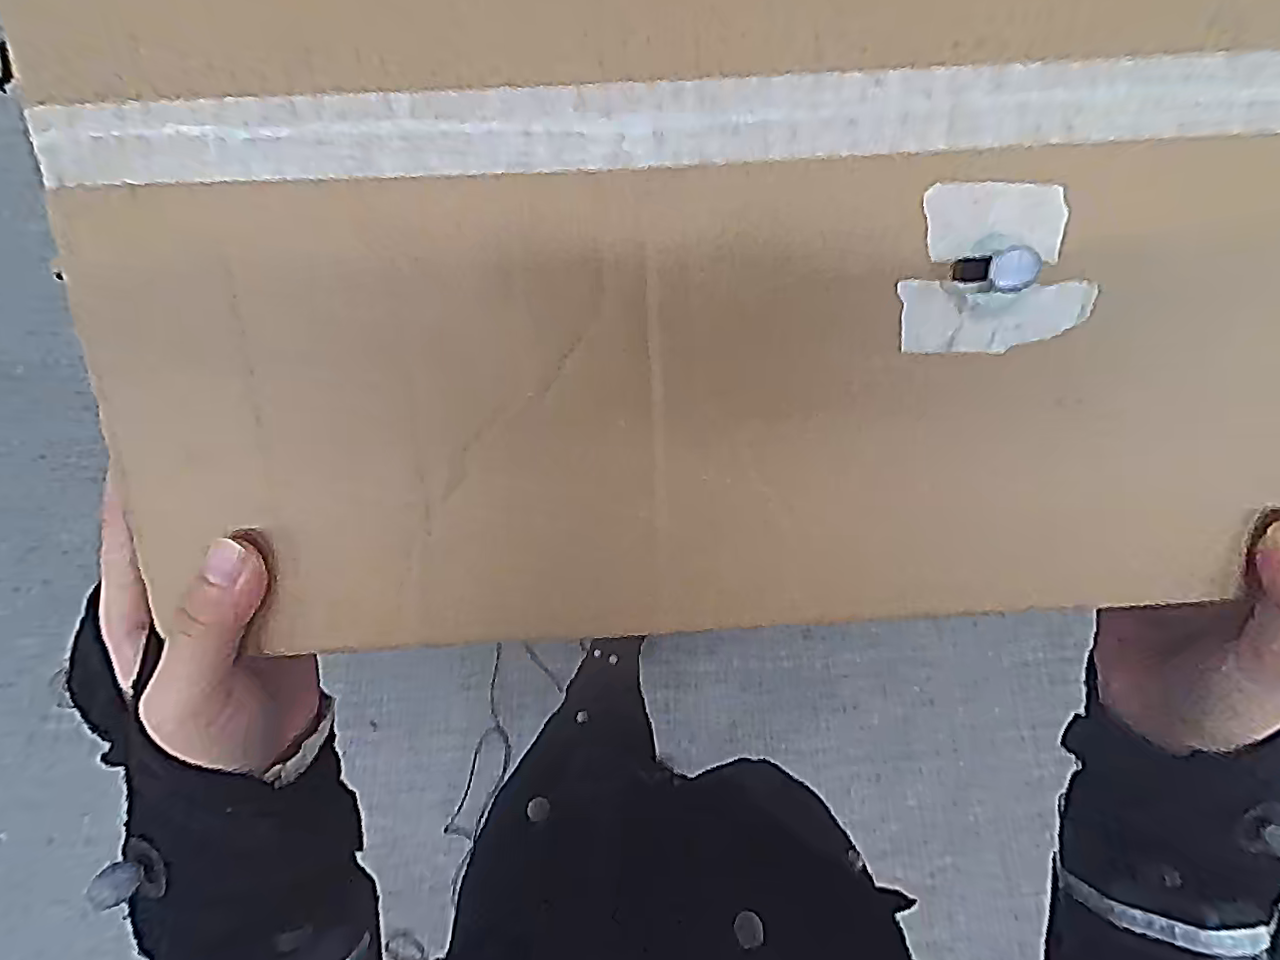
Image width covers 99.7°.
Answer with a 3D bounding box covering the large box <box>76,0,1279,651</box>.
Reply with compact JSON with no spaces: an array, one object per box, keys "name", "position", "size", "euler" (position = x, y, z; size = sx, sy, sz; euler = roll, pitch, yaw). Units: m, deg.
[{"name":"large box","position":[0.028,-0.128,0.317],"size":[0.408,0.320,0.320],"euler":[-4,101,-2]}]
